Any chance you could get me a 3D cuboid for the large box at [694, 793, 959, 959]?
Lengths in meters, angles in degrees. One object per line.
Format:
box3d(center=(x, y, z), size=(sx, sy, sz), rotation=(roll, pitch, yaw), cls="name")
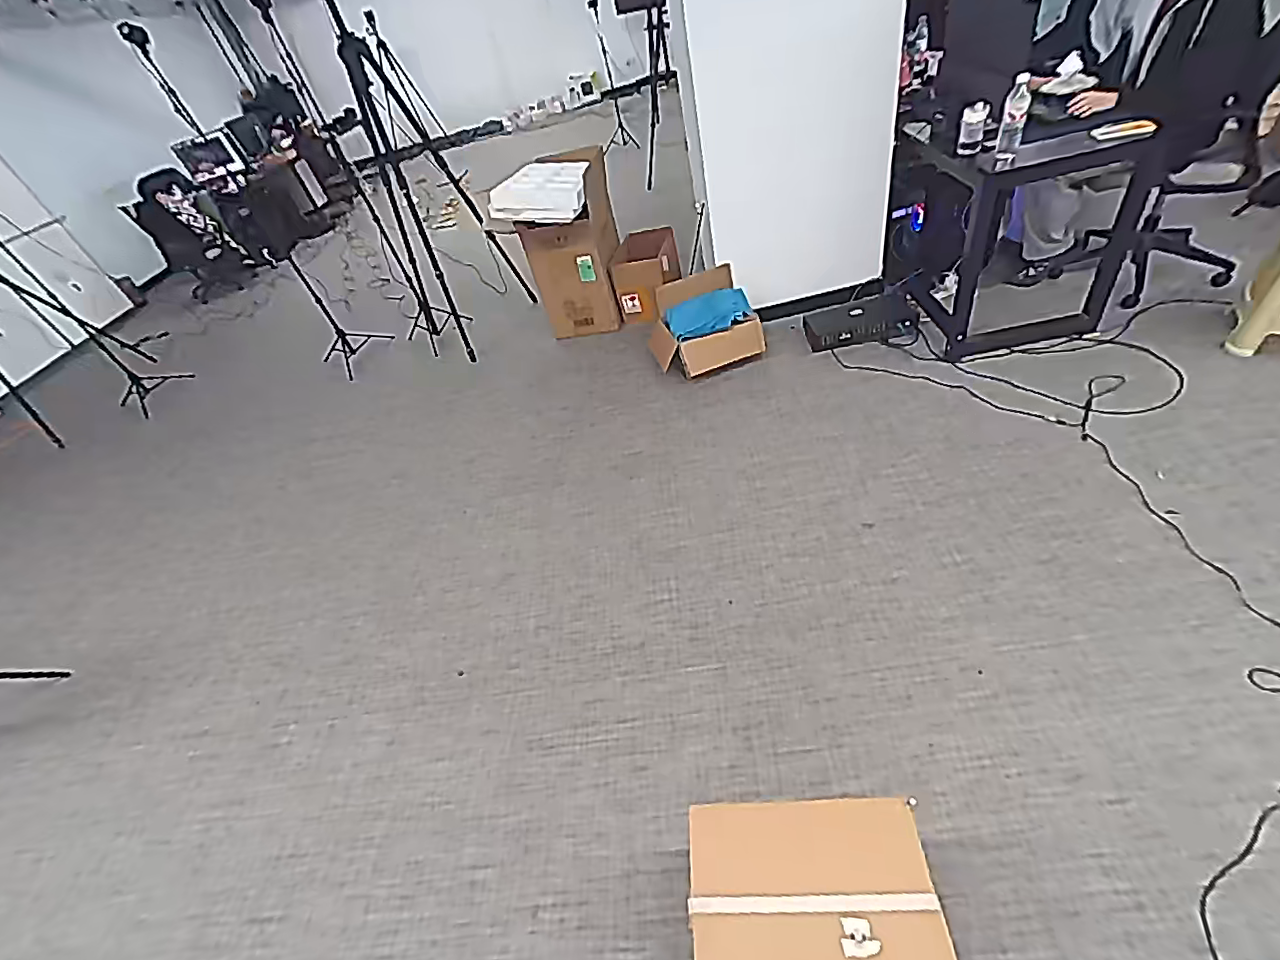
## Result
box3d(center=(0.326, 0.814, 1.012), size=(0.408, 0.320, 0.320), rotation=(-8, 43, 10), cls="large box")
